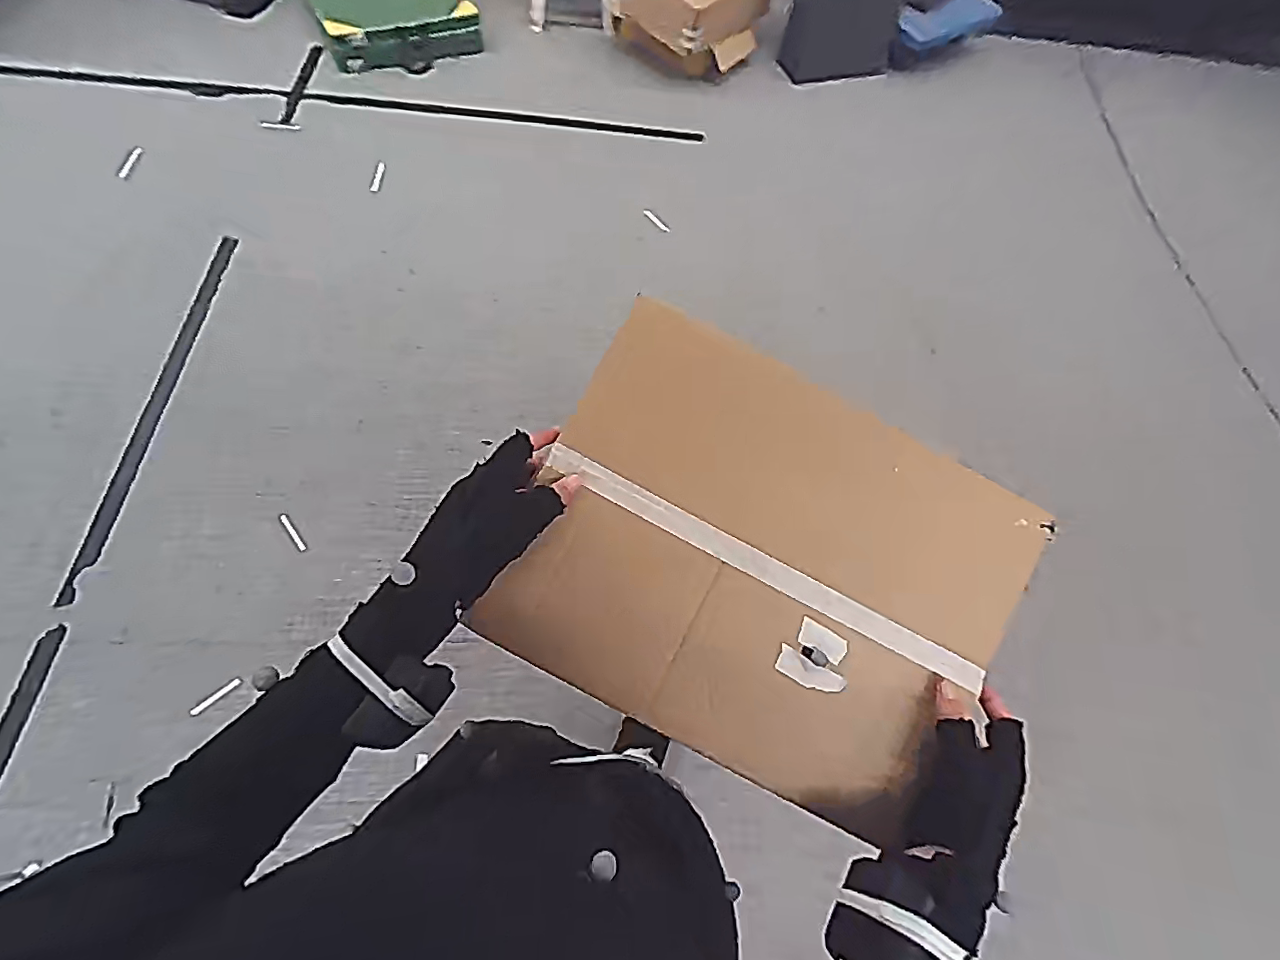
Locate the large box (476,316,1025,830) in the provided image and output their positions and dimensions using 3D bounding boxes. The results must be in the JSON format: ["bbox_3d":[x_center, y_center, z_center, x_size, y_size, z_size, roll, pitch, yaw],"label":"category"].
[{"bbox_3d":[0.093,0.086,0.615,0.408,0.320,0.320,28,86,-2],"label":"large box"}]
